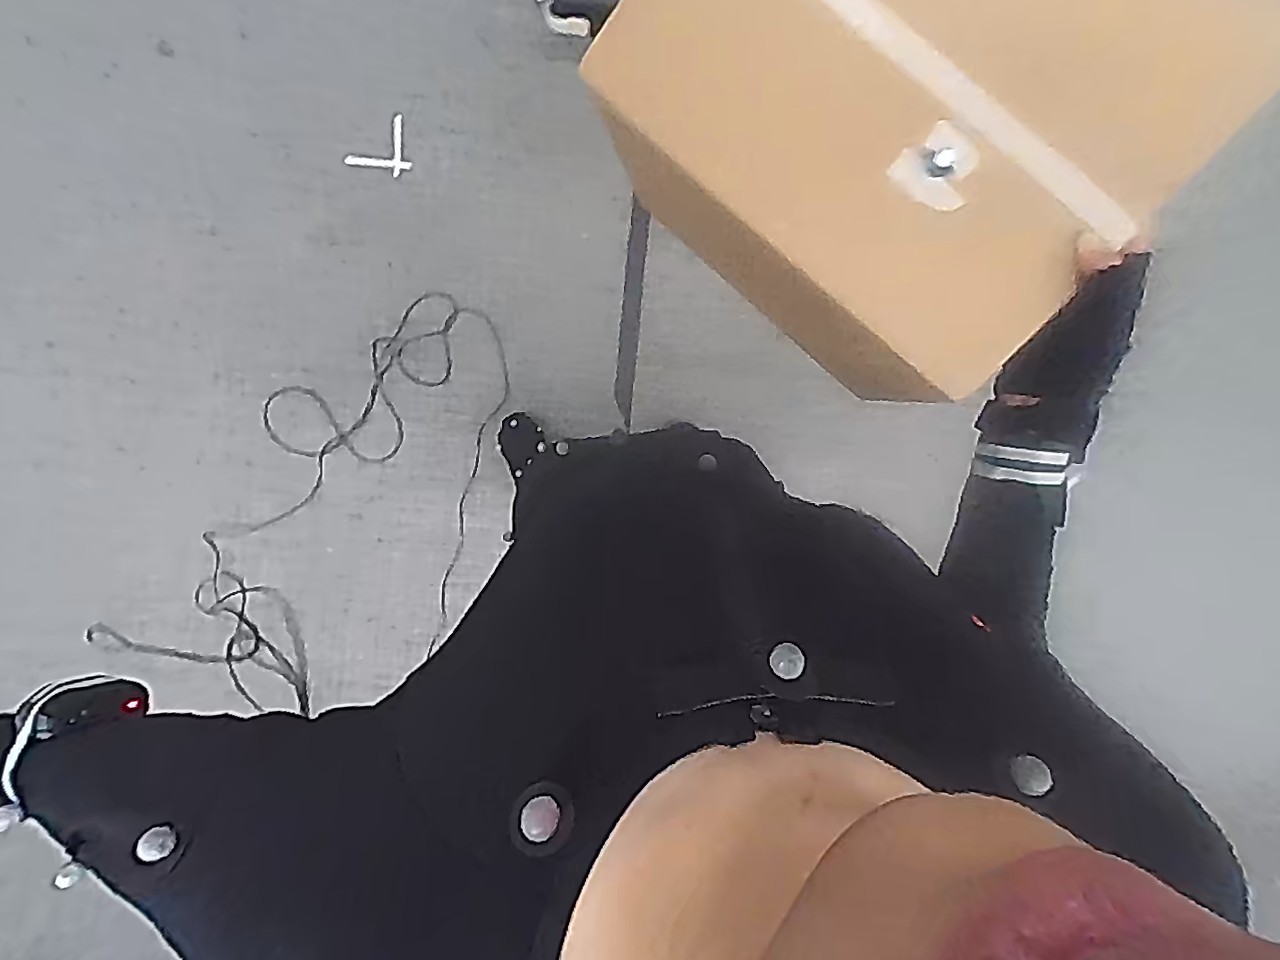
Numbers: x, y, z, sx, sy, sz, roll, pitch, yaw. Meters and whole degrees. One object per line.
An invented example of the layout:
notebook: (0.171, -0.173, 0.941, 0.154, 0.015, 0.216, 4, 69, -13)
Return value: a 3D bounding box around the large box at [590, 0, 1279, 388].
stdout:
large box: (0.223, -0.337, 0.552, 0.408, 0.320, 0.320, 41, 104, 1)
